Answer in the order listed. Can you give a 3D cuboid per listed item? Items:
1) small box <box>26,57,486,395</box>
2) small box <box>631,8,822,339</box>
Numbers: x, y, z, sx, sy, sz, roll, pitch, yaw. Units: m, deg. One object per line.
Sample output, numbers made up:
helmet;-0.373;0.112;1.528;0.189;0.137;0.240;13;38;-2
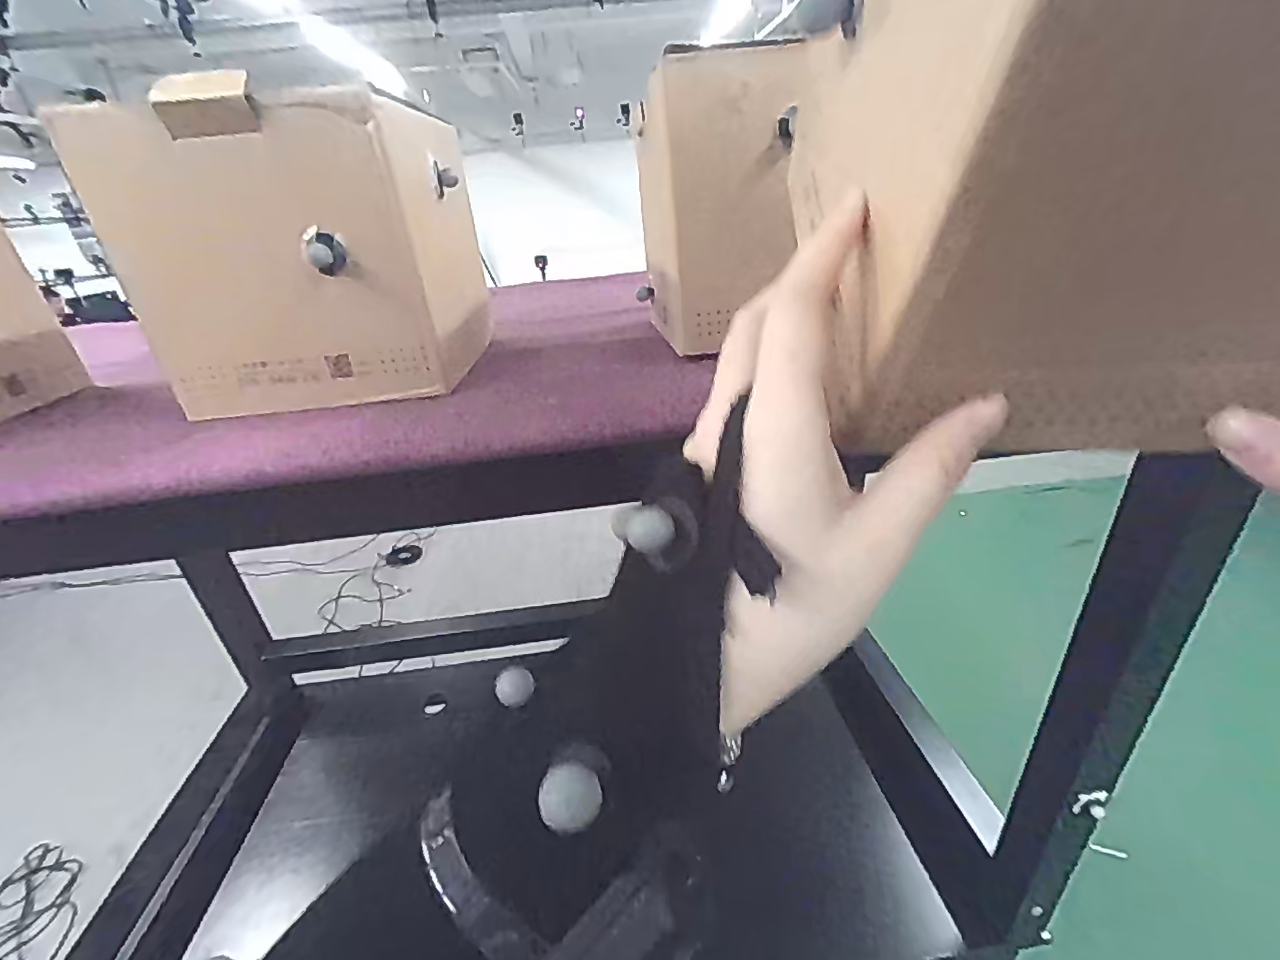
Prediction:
small box;-0.213;-0.159;0.370;0.168;0.176;0.179;-5;27;-2
small box;0.095;-0.204;0.393;0.179;0.176;0.168;-7;25;-3
